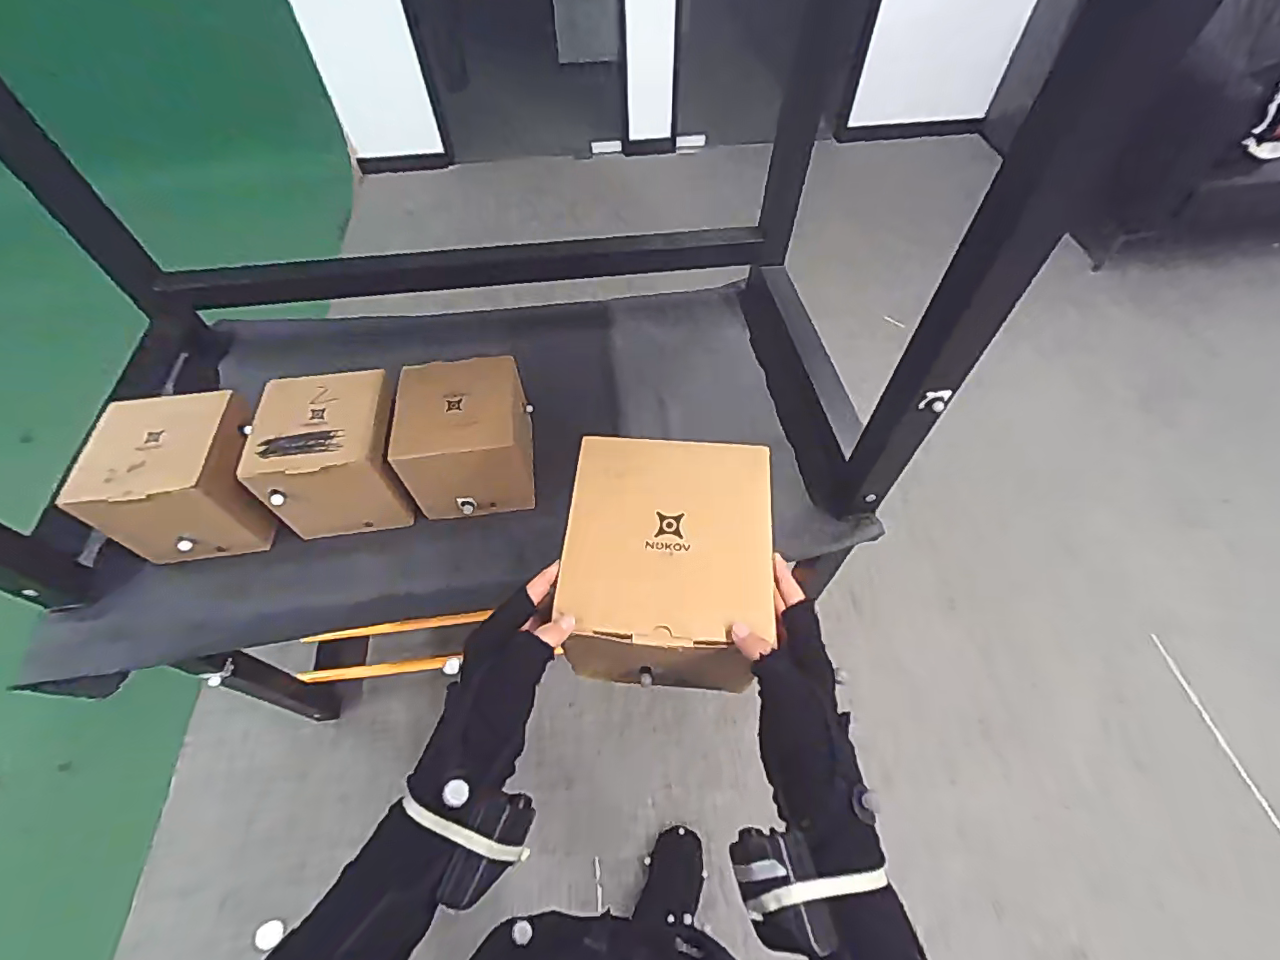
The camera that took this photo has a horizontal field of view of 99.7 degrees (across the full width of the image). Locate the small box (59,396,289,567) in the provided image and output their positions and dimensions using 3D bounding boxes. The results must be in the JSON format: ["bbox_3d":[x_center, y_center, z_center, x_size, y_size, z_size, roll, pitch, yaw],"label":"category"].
[{"bbox_3d":[-0.643,0.004,0.780,0.168,0.176,0.179,-7,55,-5],"label":"small box"}]
